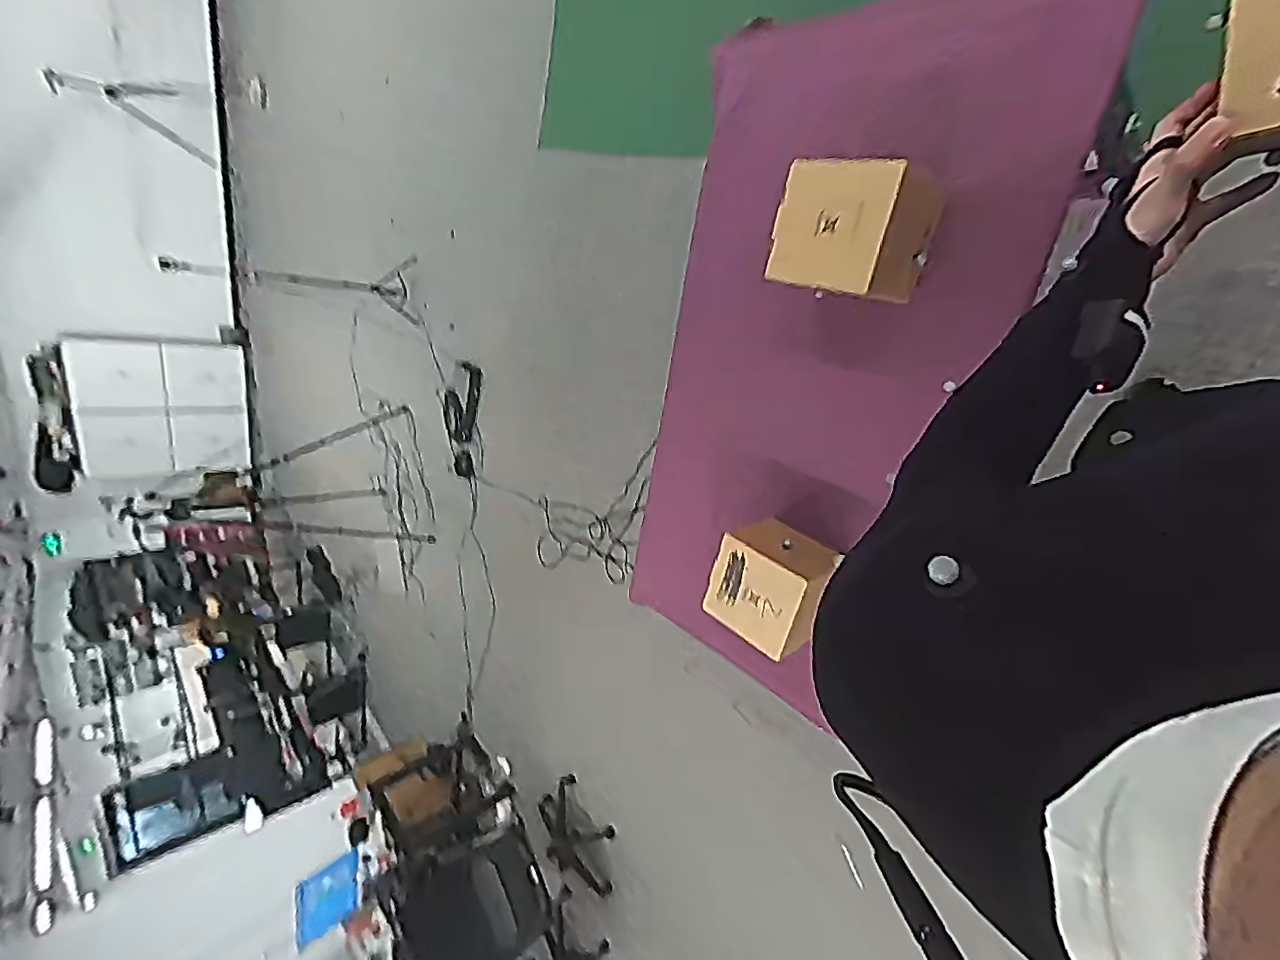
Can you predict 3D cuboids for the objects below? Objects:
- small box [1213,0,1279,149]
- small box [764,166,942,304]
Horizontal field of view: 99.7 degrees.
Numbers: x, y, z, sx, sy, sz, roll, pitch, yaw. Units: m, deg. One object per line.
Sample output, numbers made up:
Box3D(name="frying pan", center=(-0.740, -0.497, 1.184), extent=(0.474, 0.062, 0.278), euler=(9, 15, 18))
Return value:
Box3D(name="small box", center=(0.523, -0.345, 0.366), extent=(0.168, 0.176, 0.179), euler=(8, 112, 46))
Box3D(name="small box", center=(0.329, -0.375, 0.841), extent=(0.179, 0.176, 0.168), euler=(29, 118, 39))
